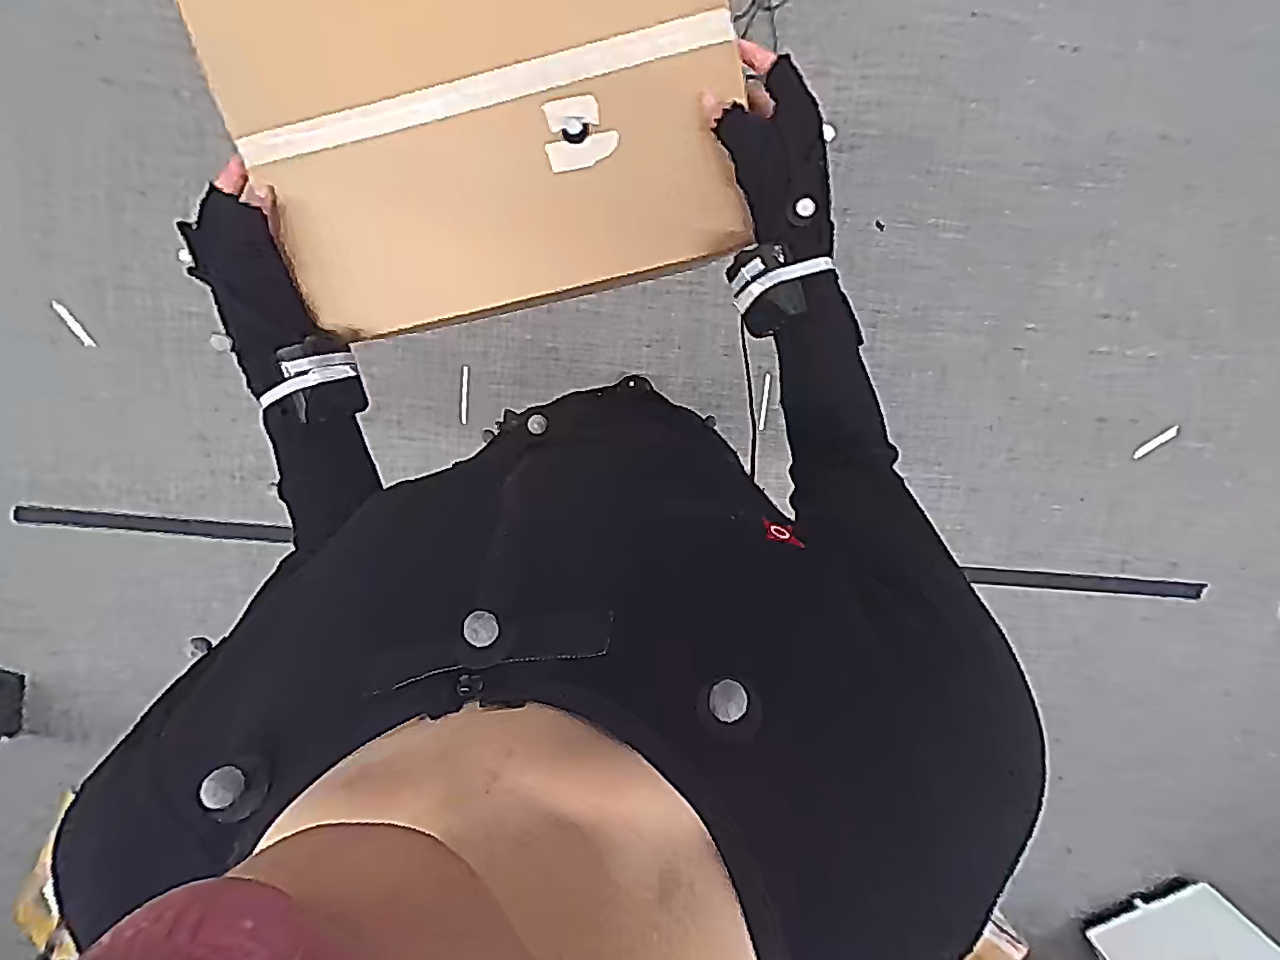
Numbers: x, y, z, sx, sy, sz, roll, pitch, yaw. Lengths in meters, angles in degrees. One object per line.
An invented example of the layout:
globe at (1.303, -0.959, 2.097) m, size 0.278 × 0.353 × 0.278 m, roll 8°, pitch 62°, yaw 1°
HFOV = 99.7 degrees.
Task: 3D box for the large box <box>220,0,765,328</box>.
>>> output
large box at (-0.117, -0.366, 0.582) m, size 0.408 × 0.320 × 0.320 m, roll -11°, pitch 108°, yaw 2°
